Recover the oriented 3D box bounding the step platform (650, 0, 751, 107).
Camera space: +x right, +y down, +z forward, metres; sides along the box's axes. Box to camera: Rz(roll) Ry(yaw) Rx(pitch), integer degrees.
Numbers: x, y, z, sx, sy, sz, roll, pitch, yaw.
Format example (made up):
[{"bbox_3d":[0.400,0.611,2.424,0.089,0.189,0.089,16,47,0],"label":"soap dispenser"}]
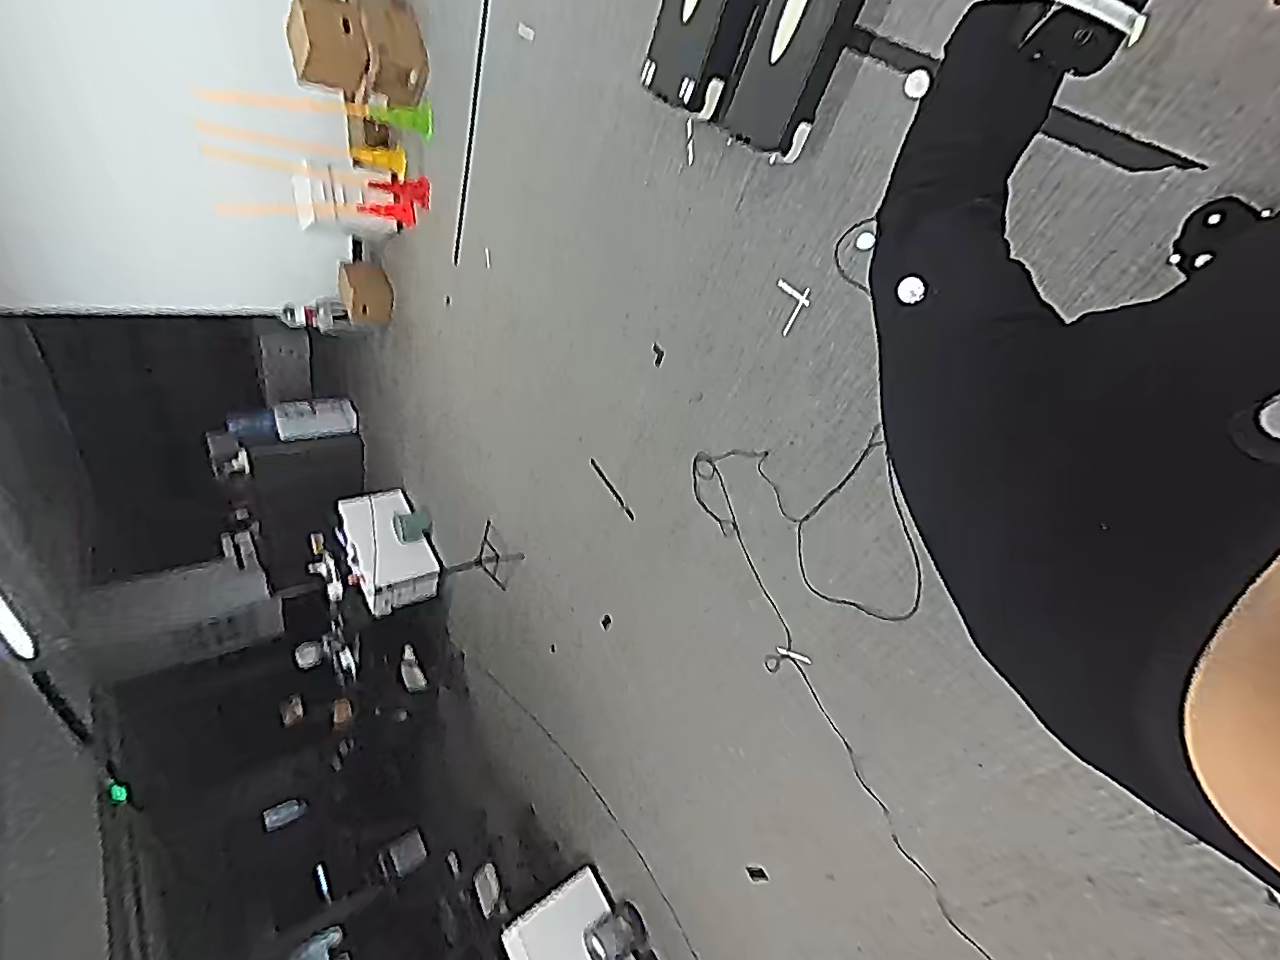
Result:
[{"bbox_3d":[0.266,-1.498,1.539,0.286,0.204,0.684,49,133,30],"label":"step platform"}]
